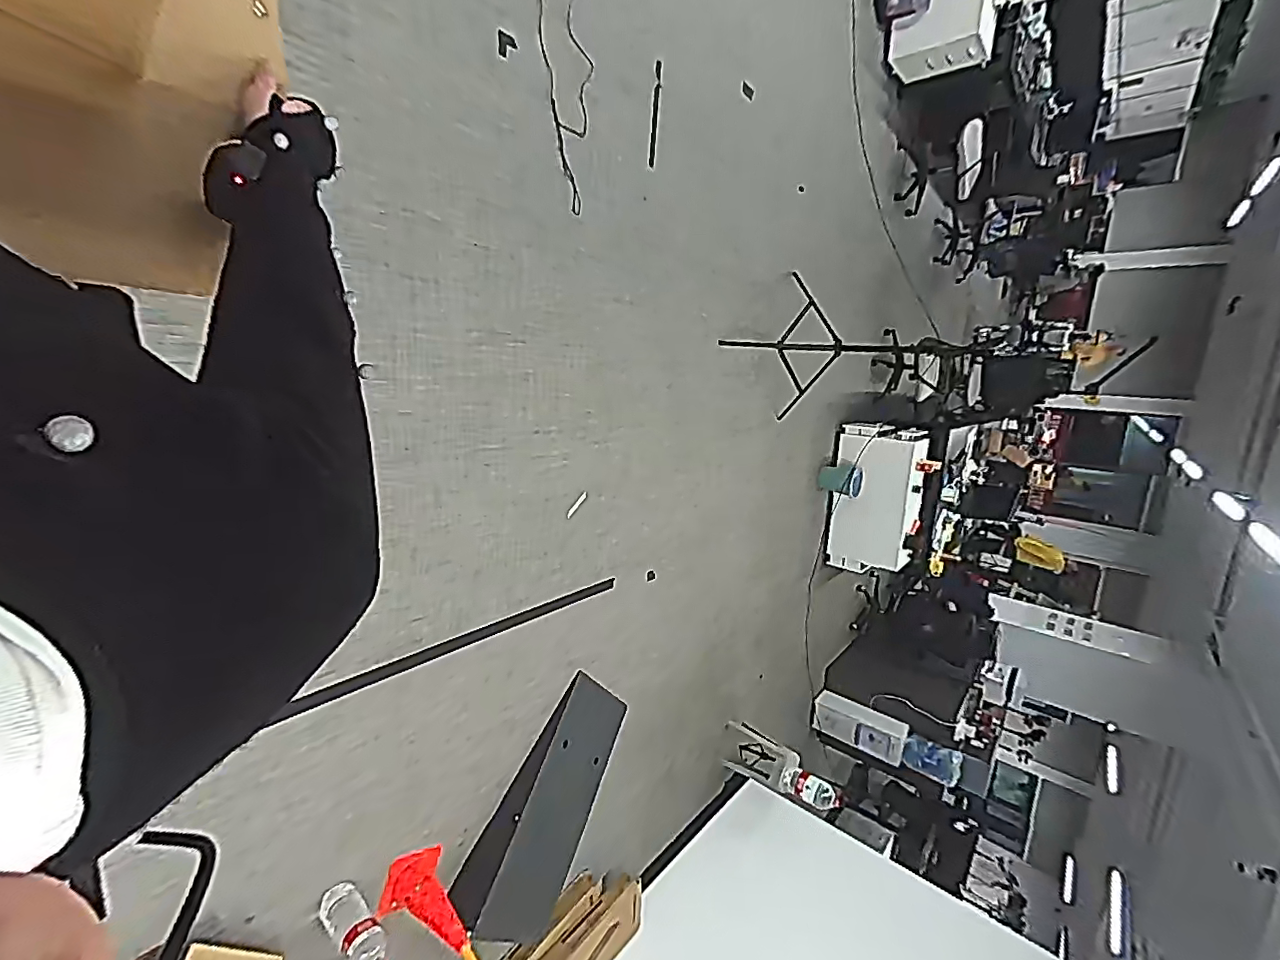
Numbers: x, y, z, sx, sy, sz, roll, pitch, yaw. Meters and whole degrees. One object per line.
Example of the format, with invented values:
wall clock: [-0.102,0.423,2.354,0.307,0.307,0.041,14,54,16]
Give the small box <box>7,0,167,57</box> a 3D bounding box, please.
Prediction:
small box: [-0.452,-0.469,0.393,0.179,0.176,0.168,7,84,-48]
